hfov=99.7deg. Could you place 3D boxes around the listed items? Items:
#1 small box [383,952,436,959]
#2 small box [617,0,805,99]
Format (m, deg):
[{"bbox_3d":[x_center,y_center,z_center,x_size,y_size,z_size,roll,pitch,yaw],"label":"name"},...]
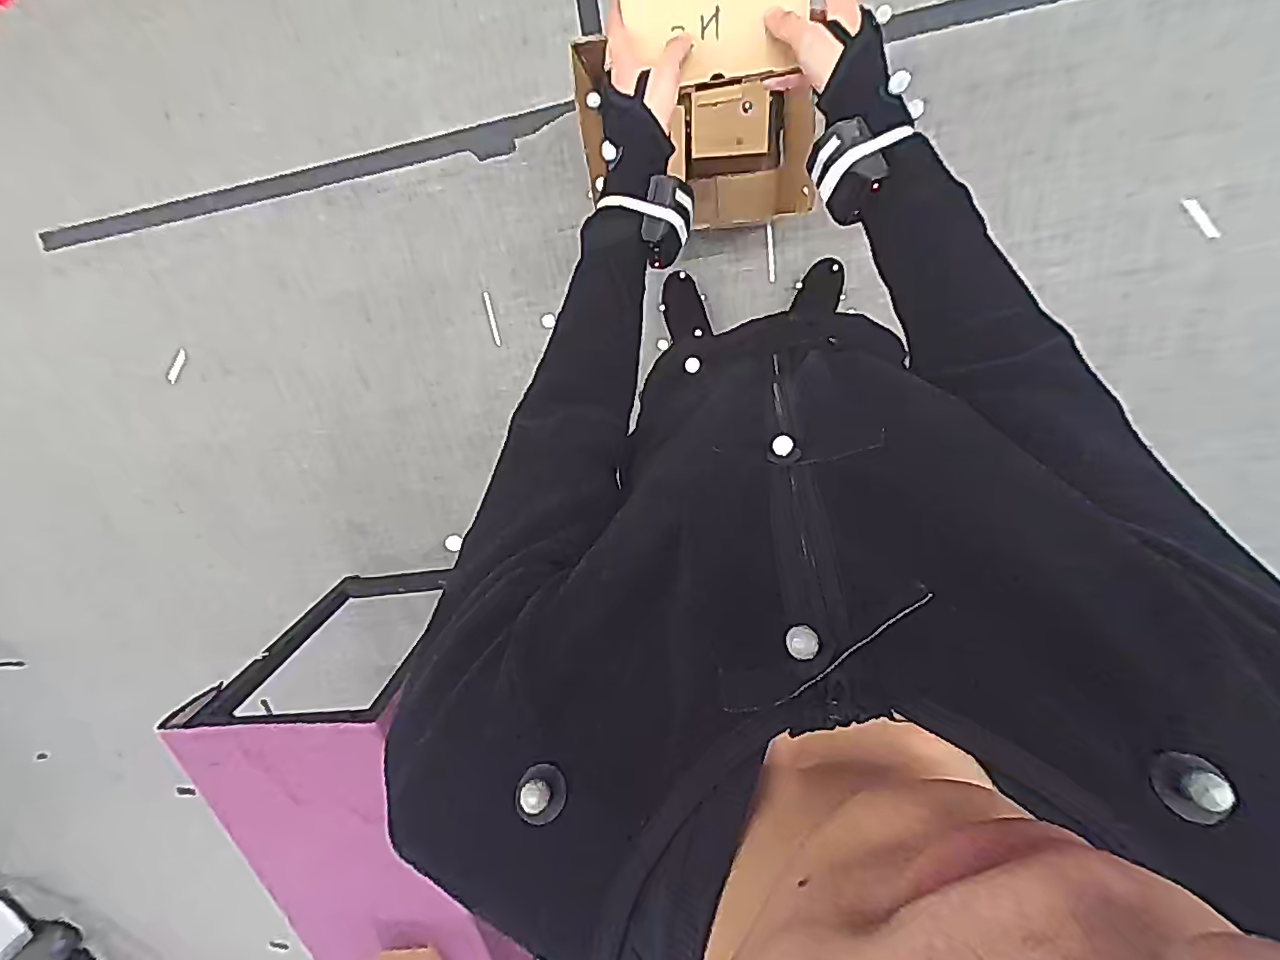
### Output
[{"bbox_3d":[-0.677,1.501,1.556,0.179,0.176,0.168,-15,110,13],"label":"small box"},{"bbox_3d":[0.063,-0.486,0.521,0.168,0.176,0.179,-3,124,8],"label":"small box"}]
